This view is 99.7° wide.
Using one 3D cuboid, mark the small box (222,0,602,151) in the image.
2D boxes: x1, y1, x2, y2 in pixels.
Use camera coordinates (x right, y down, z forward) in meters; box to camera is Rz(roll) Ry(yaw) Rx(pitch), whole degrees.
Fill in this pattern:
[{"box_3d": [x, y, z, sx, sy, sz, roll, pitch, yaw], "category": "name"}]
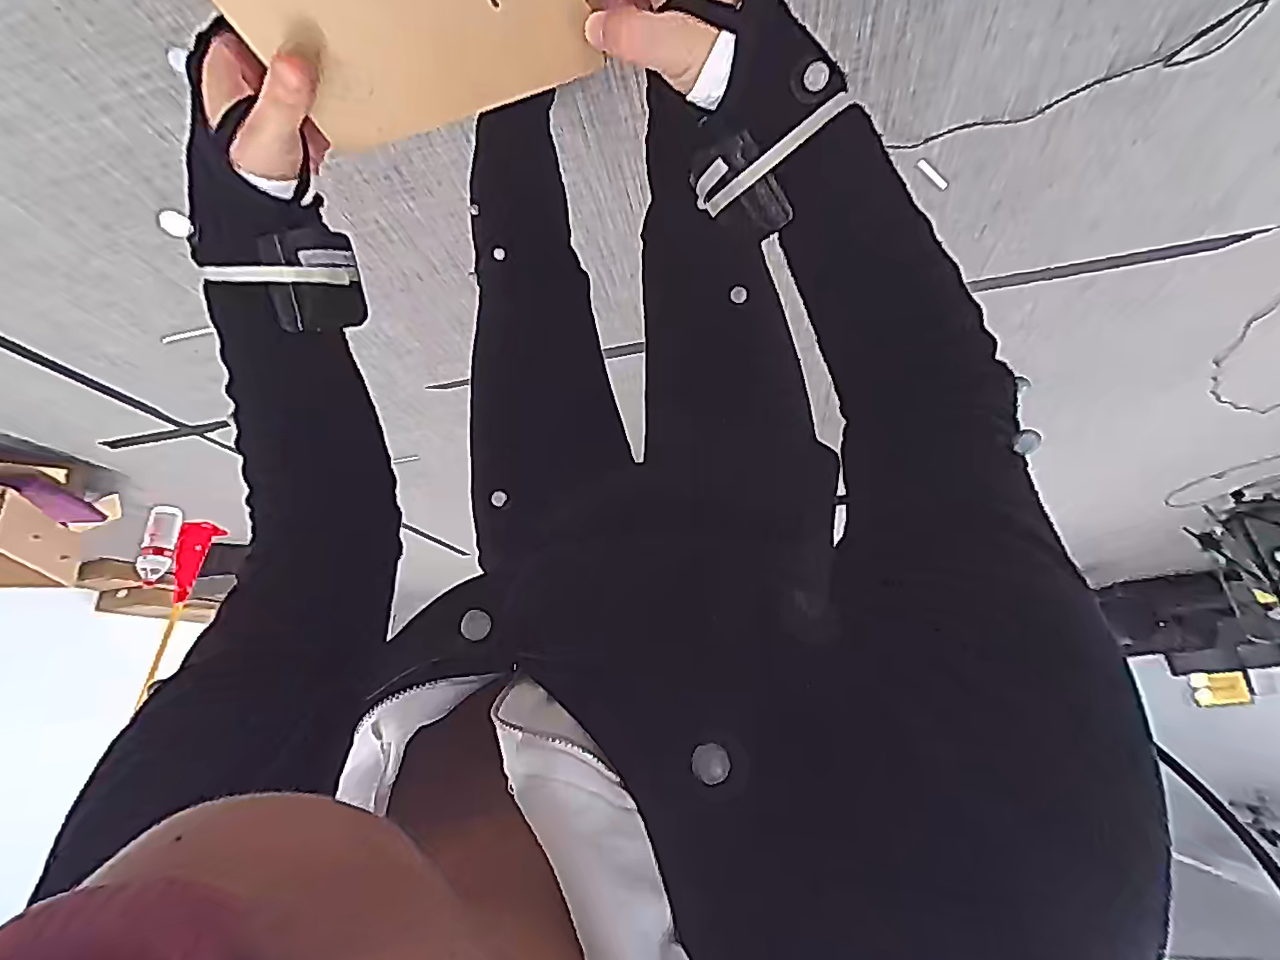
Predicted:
[{"box_3d": [-0.127, -0.321, 0.279, 0.179, 0.176, 0.168, -10, 158, 10], "category": "small box"}]
